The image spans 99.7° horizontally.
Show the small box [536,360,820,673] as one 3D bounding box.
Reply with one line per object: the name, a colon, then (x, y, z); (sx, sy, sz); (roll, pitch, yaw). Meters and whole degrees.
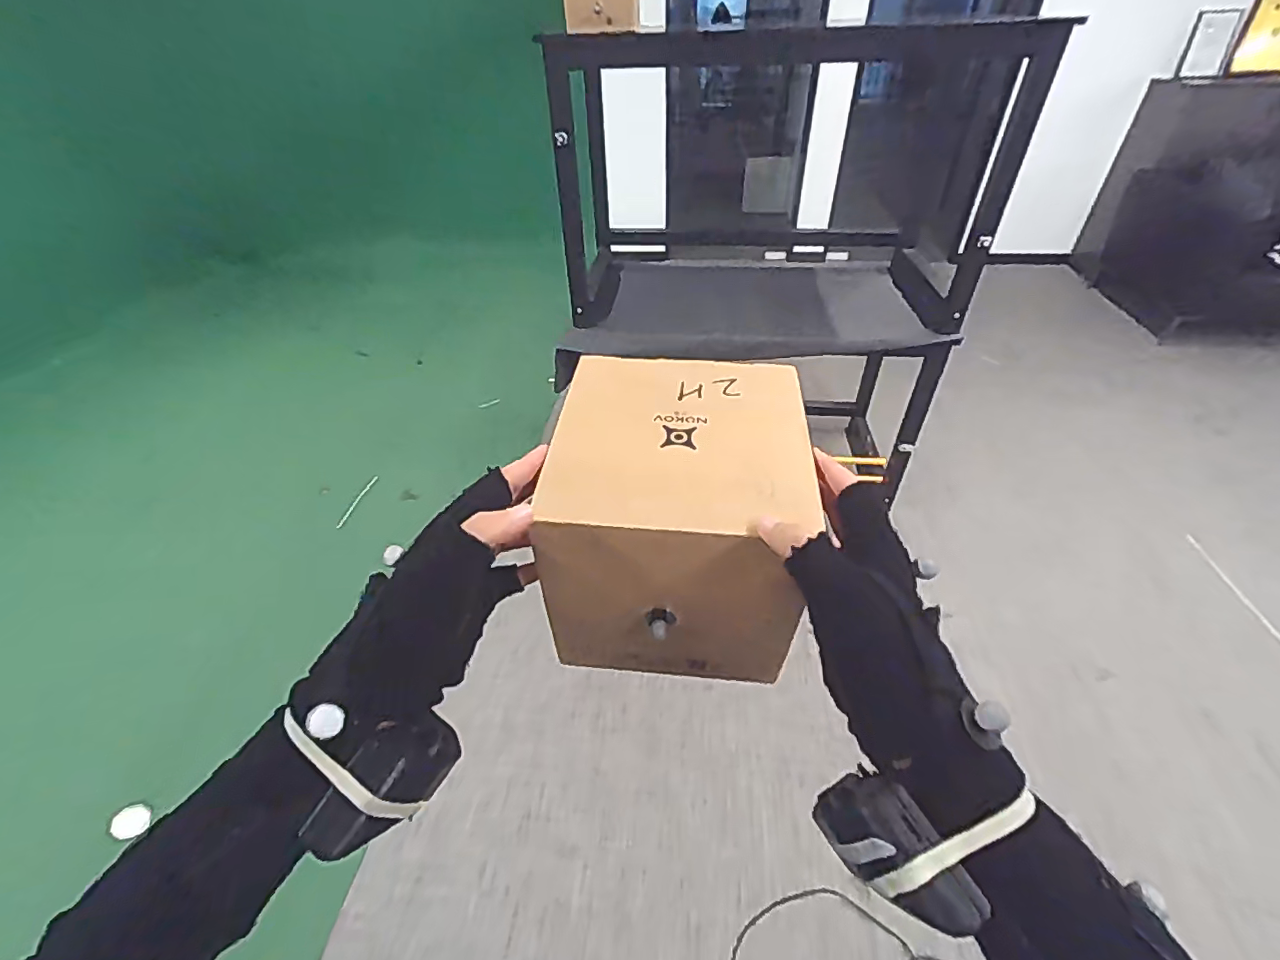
small box: (0.031, 0.027, 0.418); (0.168, 0.176, 0.179); (4, 43, 4)
